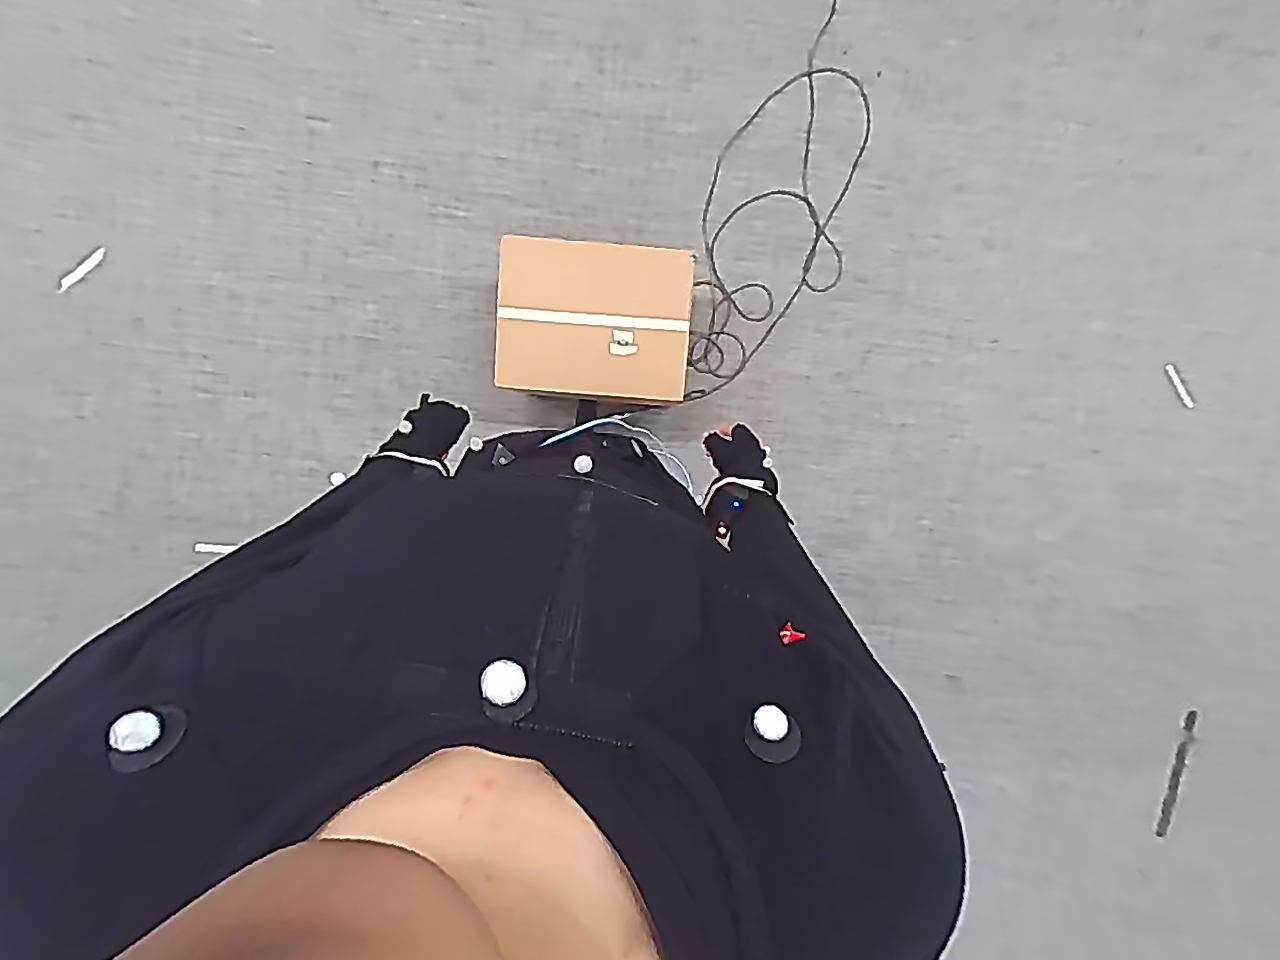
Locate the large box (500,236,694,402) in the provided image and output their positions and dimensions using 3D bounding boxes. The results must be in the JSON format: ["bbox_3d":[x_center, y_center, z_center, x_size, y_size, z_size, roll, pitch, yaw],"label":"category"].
[{"bbox_3d":[-0.098,-0.359,1.293,0.408,0.320,0.320,4,97,-2],"label":"large box"}]
